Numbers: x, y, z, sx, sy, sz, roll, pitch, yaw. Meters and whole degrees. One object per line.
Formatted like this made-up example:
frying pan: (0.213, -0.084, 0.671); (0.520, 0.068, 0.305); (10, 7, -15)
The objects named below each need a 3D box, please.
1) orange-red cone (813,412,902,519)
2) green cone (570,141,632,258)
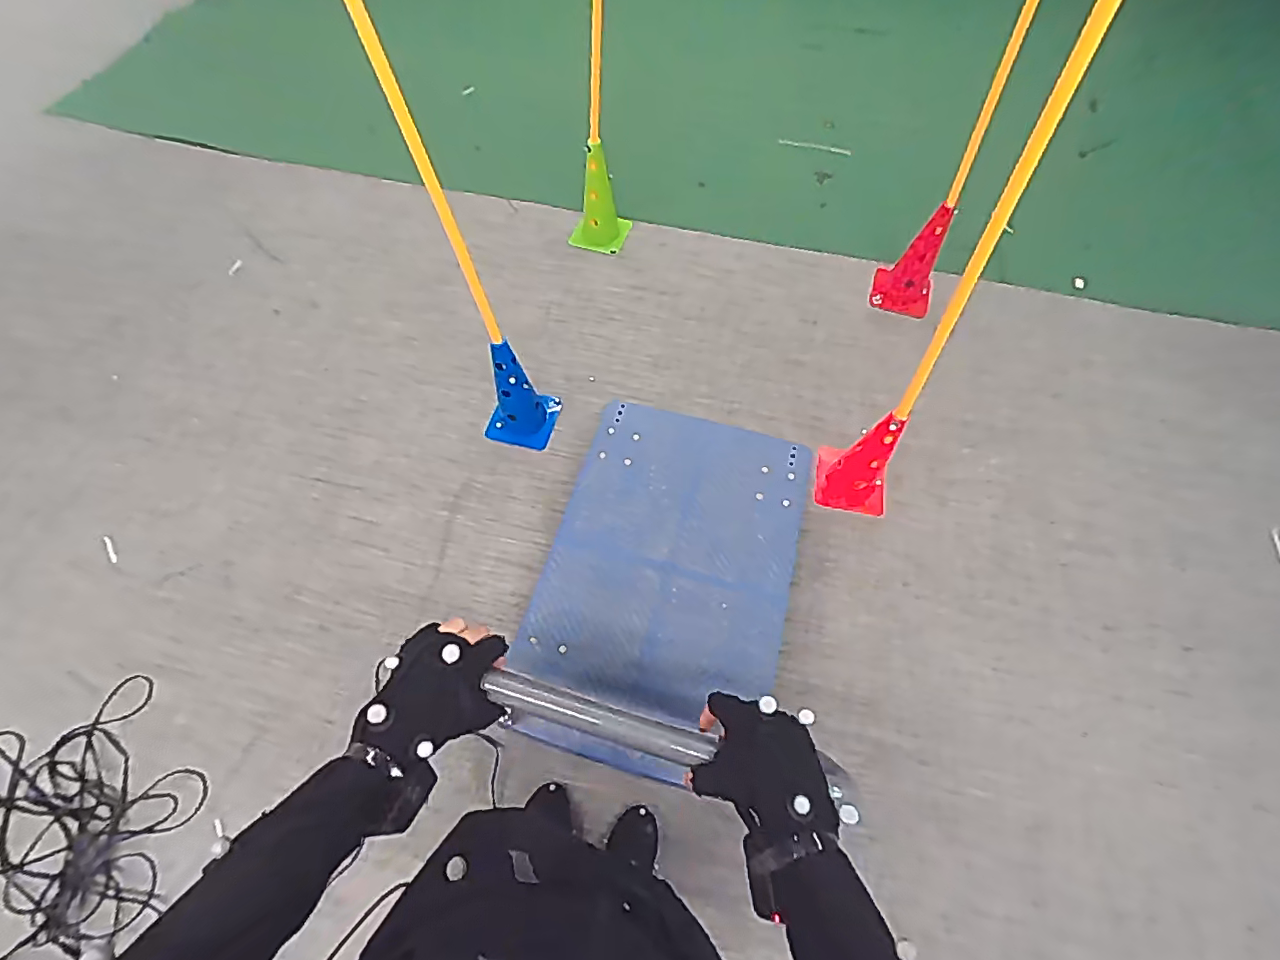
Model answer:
orange-red cone: (0.616, -0.065, 1.460); (0.199, 0.360, 0.198); (12, 63, 7)
green cone: (-0.150, -1.024, 1.944); (0.202, 0.368, 0.200); (17, 63, 9)
